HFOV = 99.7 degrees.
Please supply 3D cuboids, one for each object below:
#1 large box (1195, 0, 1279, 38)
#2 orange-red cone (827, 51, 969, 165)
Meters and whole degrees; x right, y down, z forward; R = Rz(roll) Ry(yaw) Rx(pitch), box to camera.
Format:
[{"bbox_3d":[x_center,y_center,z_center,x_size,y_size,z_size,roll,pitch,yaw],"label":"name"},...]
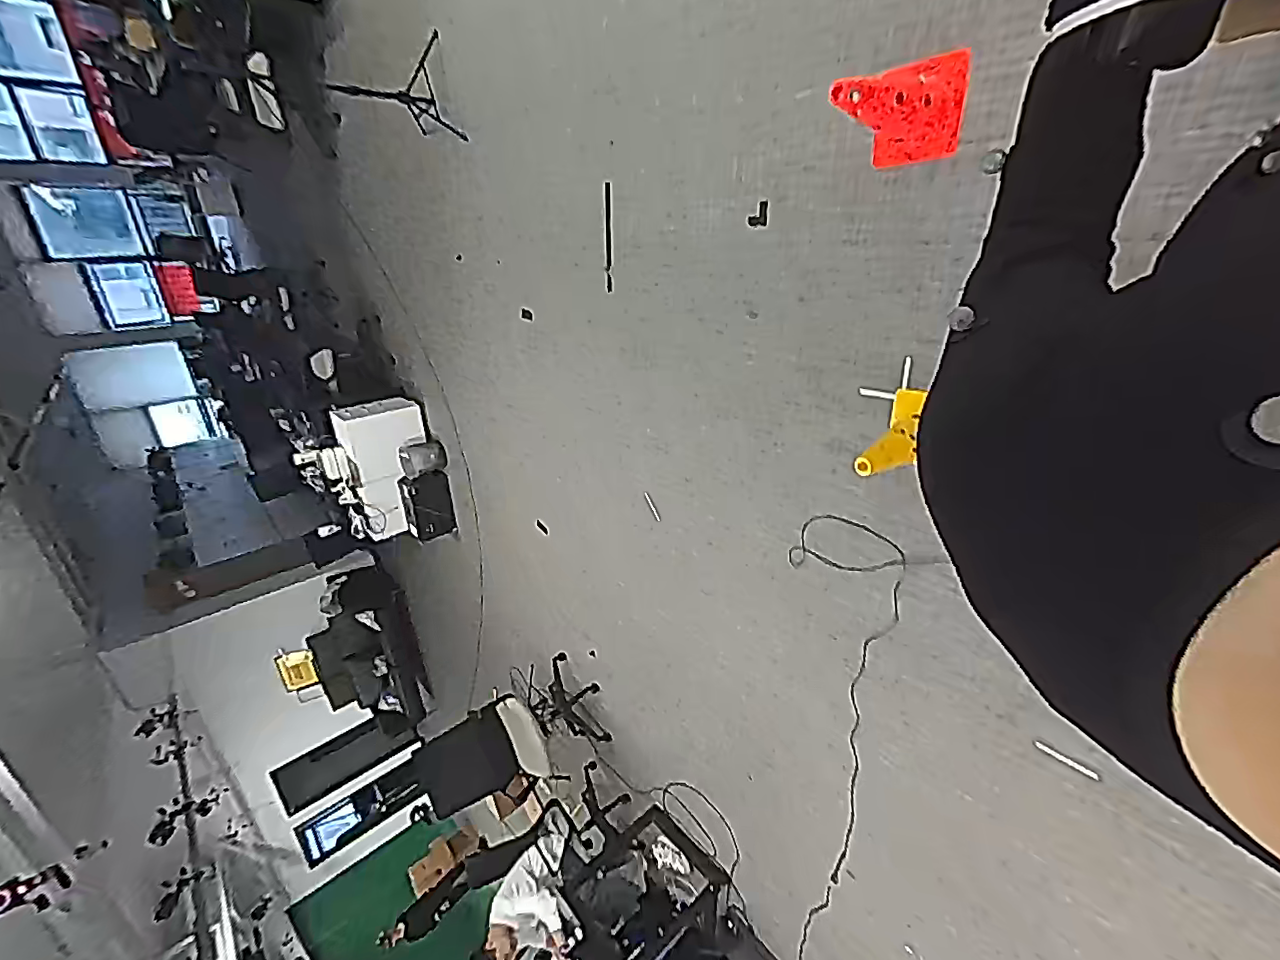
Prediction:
[{"bbox_3d":[0.555,-0.466,0.231,0.408,0.320,0.320,18,124,44],"label":"large box"},{"bbox_3d":[0.511,-0.795,1.145,0.198,0.360,0.199,22,125,45],"label":"orange-red cone"}]
